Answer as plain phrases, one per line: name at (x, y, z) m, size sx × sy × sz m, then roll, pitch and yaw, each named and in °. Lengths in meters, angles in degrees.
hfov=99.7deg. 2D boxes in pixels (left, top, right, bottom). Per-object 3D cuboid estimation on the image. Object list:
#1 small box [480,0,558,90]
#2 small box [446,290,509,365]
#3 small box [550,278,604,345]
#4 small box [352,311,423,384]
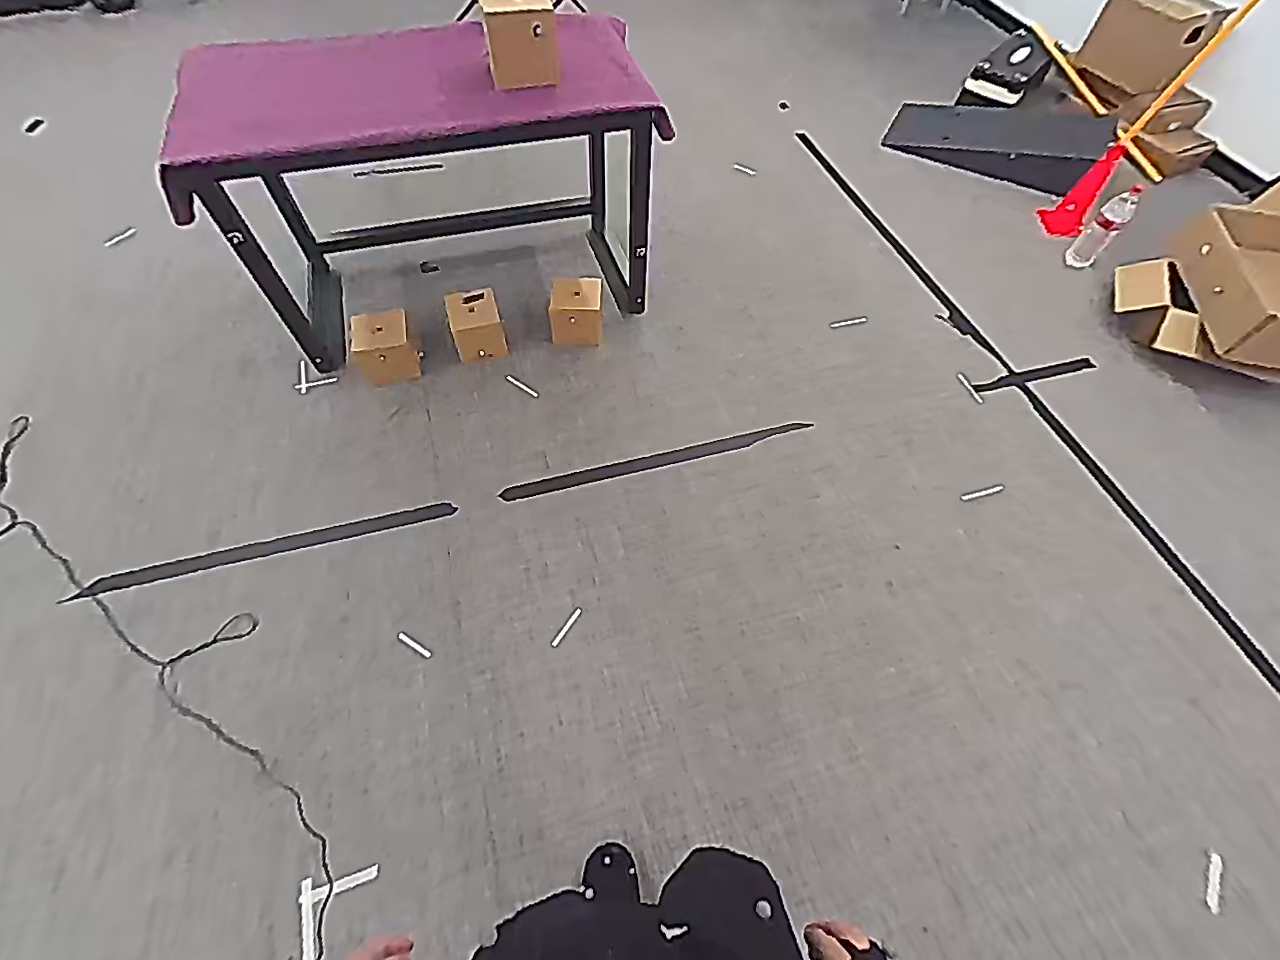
small box at (-0.319, -1.176, 1.441) m, size 0.179 × 0.176 × 0.168 m, roll -13°, pitch 59°, yaw -9°
small box at (-0.568, -0.534, 1.898) m, size 0.168 × 0.176 × 0.179 m, roll -15°, pitch 62°, yaw -10°
small box at (-0.222, -0.604, 1.954) m, size 0.179 × 0.176 × 0.168 m, roll 0°, pitch 60°, yaw 0°
small box at (-0.854, -0.445, 1.837) m, size 0.179 × 0.176 × 0.168 m, roll -11°, pitch 61°, yaw -10°
